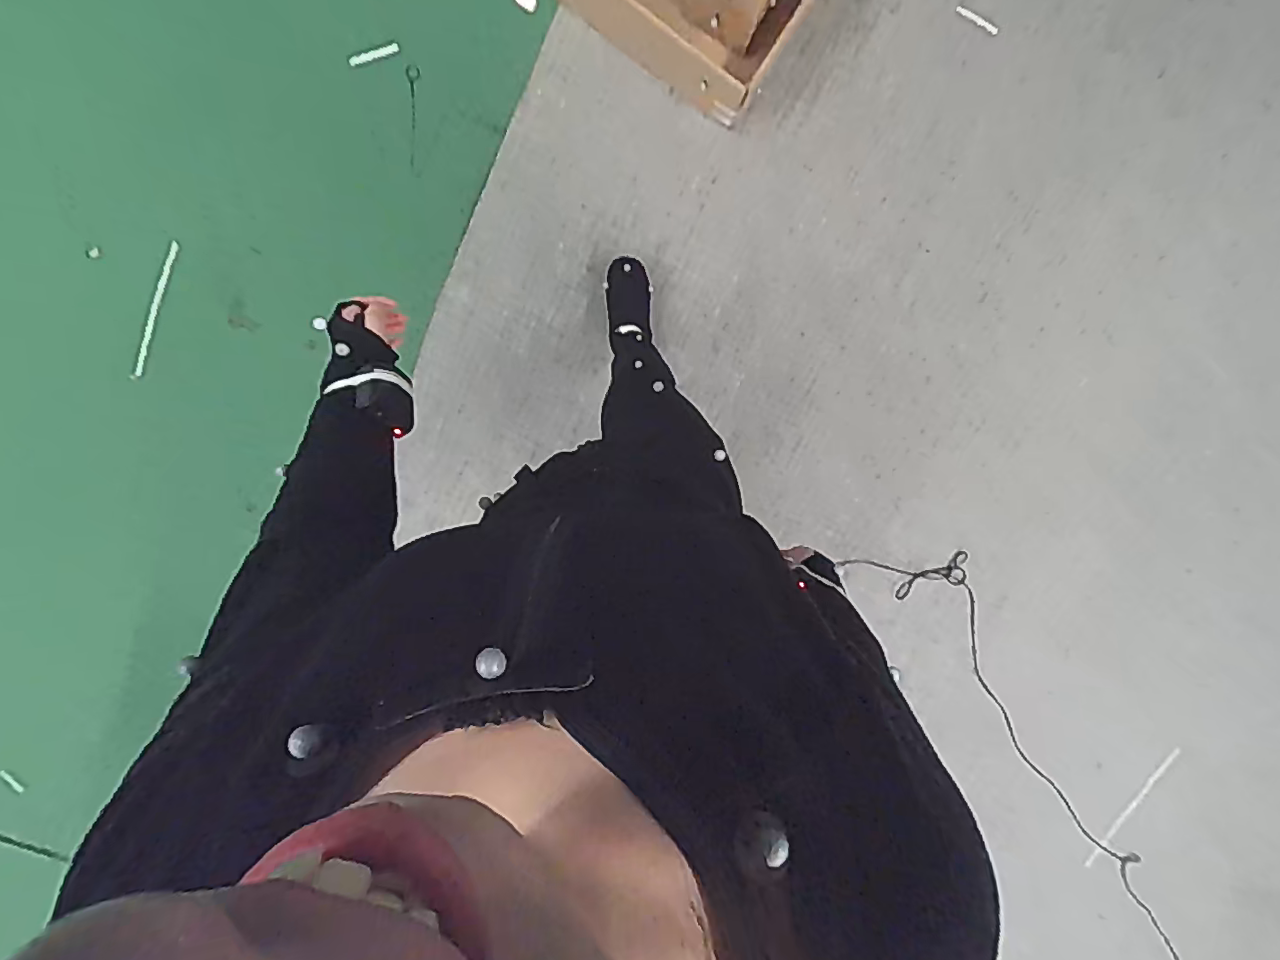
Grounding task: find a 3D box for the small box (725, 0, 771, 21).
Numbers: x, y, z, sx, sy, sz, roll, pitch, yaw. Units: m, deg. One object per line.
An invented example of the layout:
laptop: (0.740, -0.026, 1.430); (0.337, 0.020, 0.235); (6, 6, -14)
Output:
small box: (0.203, -0.987, 0.962); (0.168, 0.176, 0.179); (32, 100, -6)
